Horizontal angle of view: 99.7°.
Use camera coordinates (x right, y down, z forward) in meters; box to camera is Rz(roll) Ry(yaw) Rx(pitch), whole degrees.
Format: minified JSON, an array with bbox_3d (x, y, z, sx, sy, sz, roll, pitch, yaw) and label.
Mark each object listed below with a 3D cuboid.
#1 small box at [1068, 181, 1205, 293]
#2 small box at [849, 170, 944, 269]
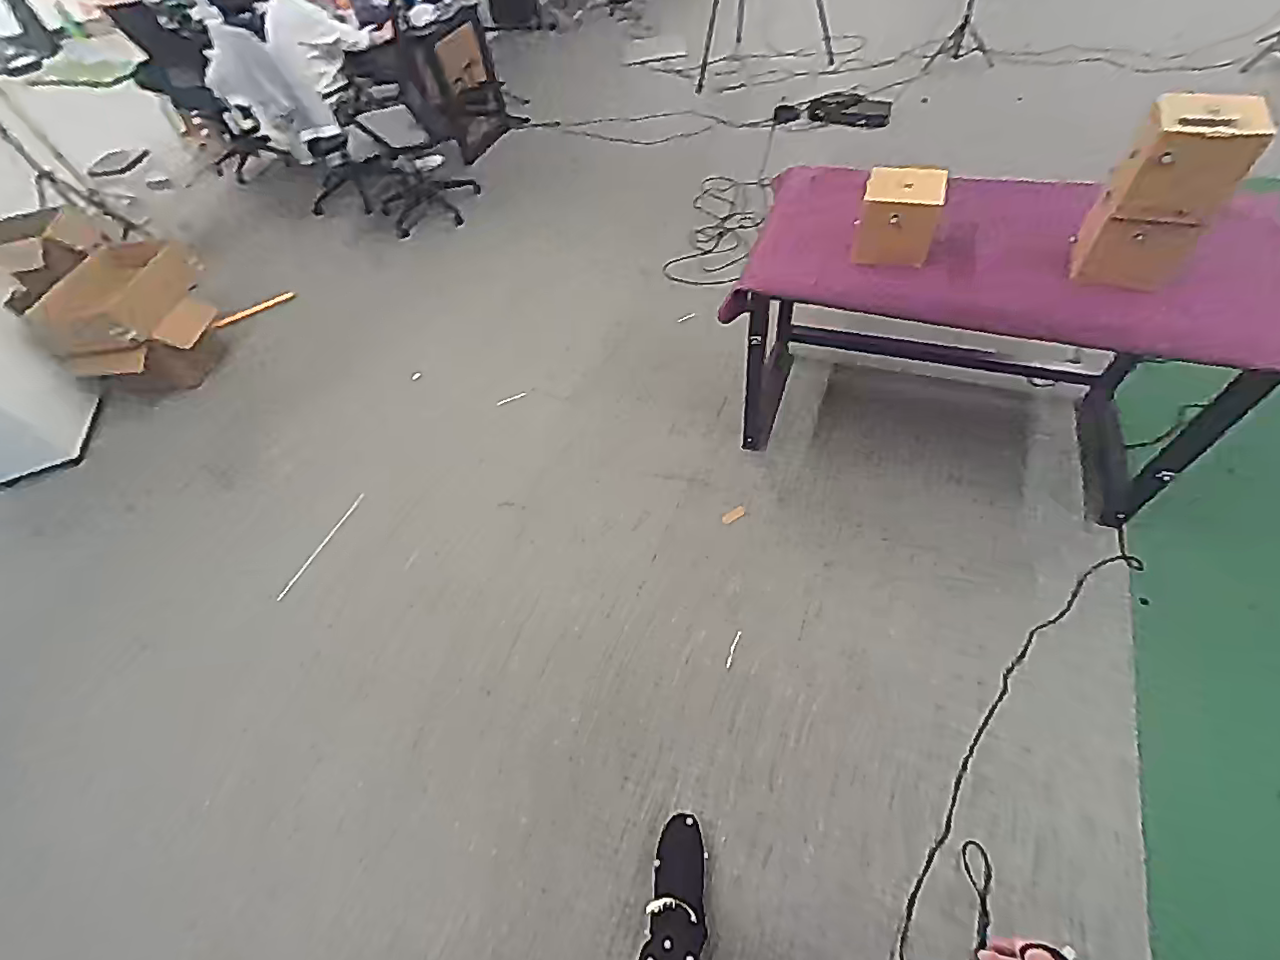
[{"bbox_3d":[1.113,-0.550,1.230,0.179,0.176,0.168,17,59,19],"label":"small box"},{"bbox_3d":[0.652,-0.662,1.381,0.179,0.176,0.168,13,57,17],"label":"small box"}]
